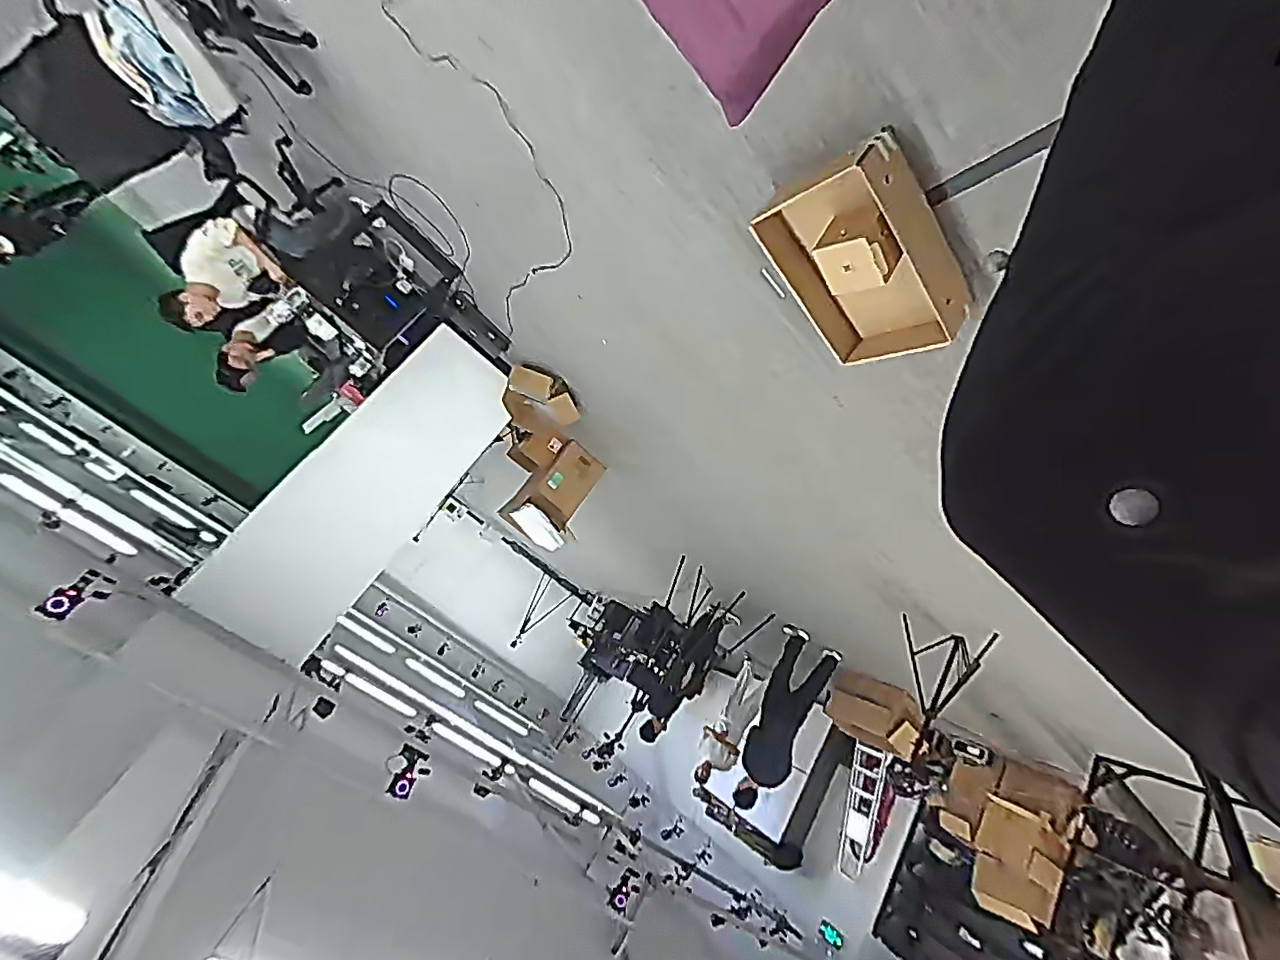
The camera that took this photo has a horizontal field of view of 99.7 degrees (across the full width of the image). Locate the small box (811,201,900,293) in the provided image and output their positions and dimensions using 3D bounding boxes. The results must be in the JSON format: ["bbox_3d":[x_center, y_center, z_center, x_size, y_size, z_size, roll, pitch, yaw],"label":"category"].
[{"bbox_3d":[0.642,-0.685,1.592,0.179,0.176,0.168,9,148,50],"label":"small box"}]
